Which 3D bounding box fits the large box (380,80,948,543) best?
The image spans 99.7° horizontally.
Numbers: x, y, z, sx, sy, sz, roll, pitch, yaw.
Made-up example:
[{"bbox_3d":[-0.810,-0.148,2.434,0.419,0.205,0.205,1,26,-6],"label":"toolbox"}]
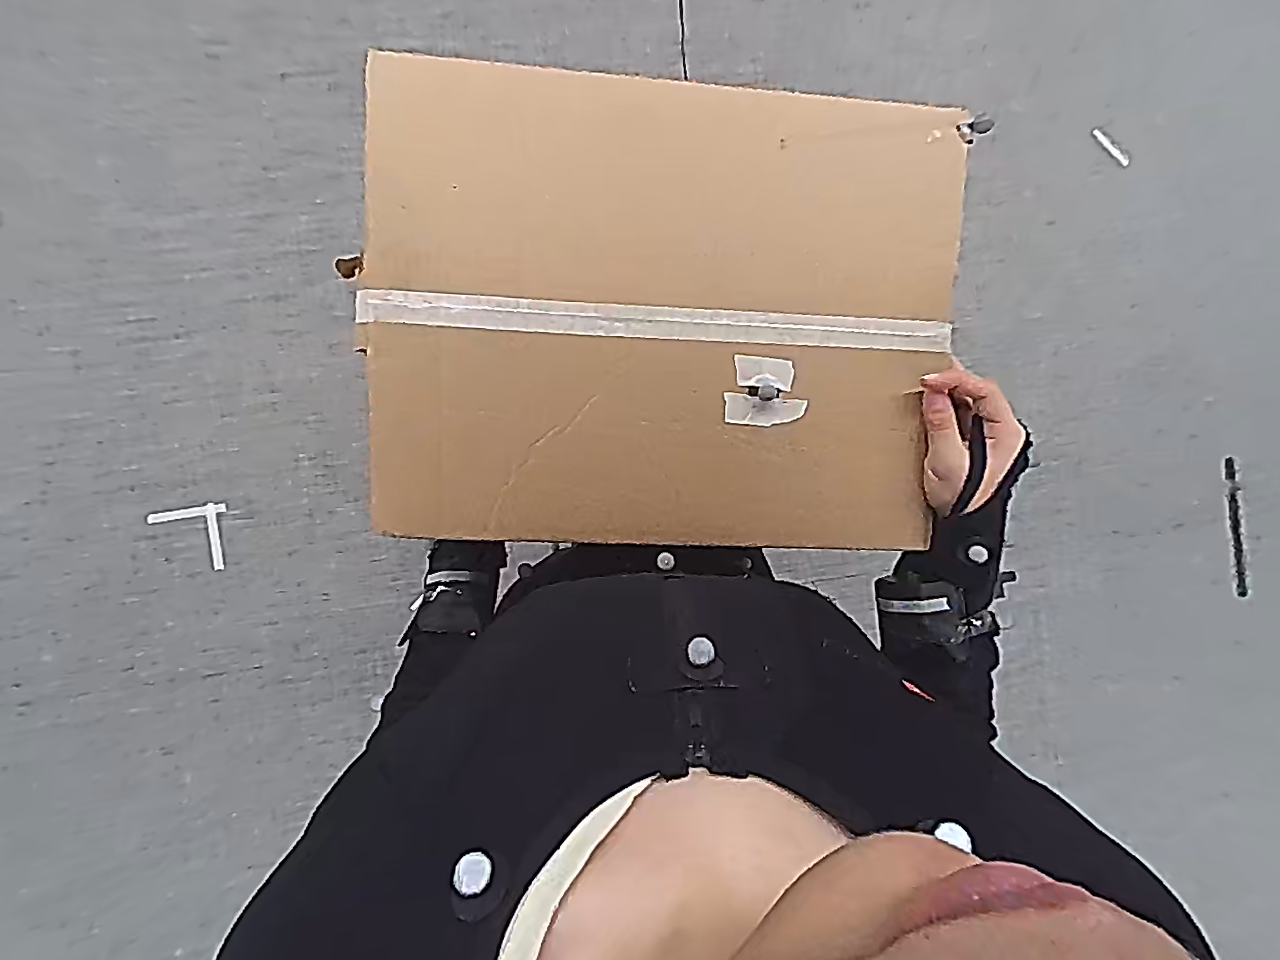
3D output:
[{"bbox_3d":[0.008,-0.122,0.532,0.408,0.320,0.320,1,96,-6],"label":"large box"}]
